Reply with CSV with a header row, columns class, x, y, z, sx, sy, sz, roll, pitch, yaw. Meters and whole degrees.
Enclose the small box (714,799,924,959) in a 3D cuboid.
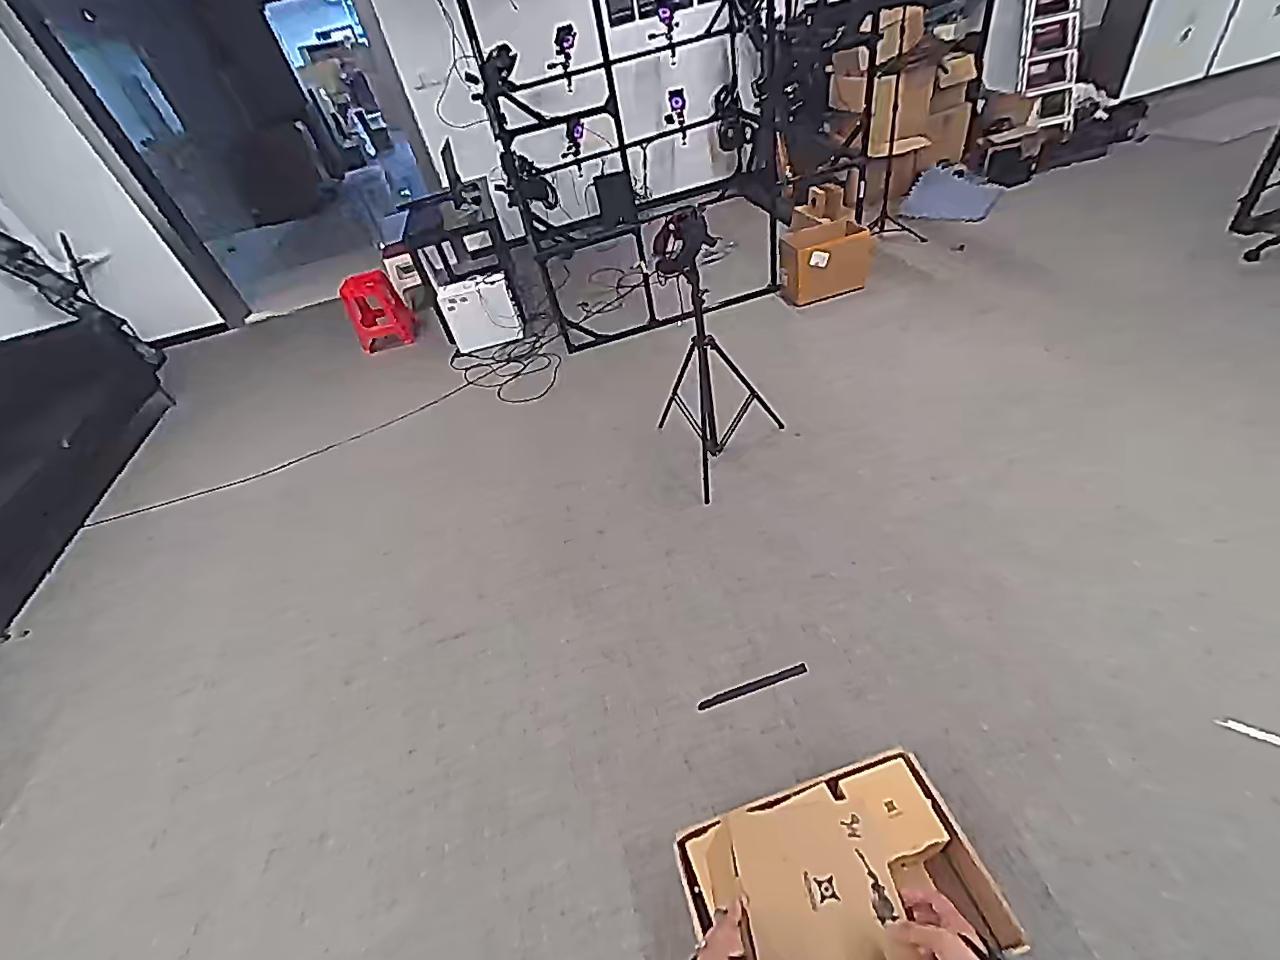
class,x,y,z,sx,sy,sz,roll,pitch,yaw
small box,0.189,0.500,0.634,0.179,0.176,0.168,-3,43,-6
